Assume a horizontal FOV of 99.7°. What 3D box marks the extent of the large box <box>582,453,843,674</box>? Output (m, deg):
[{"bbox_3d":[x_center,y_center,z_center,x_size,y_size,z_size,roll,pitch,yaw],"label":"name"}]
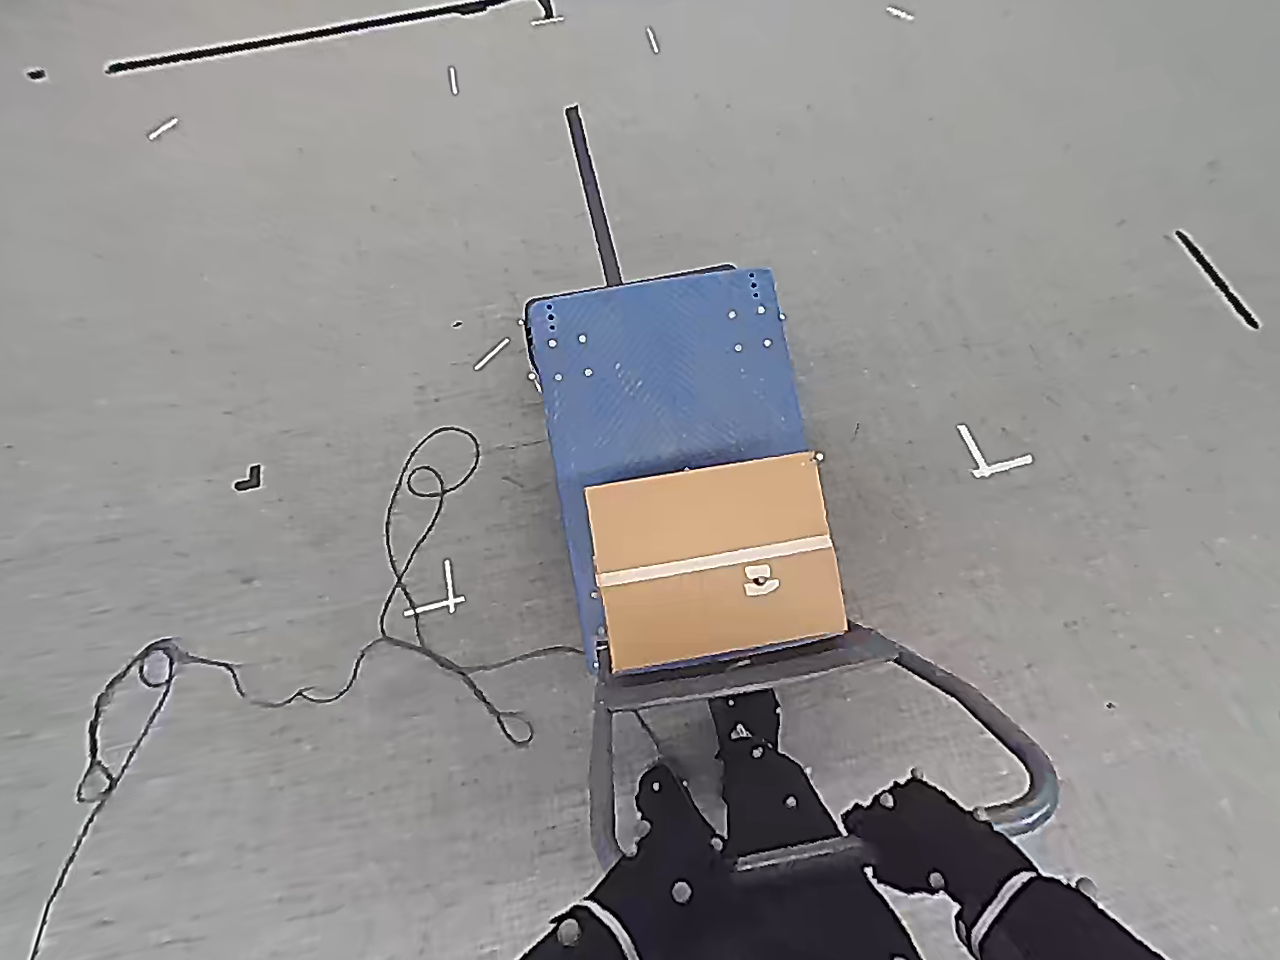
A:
[{"bbox_3d":[0.115,0.149,1.060,0.408,0.320,0.320,-10,87,-4],"label":"large box"}]
